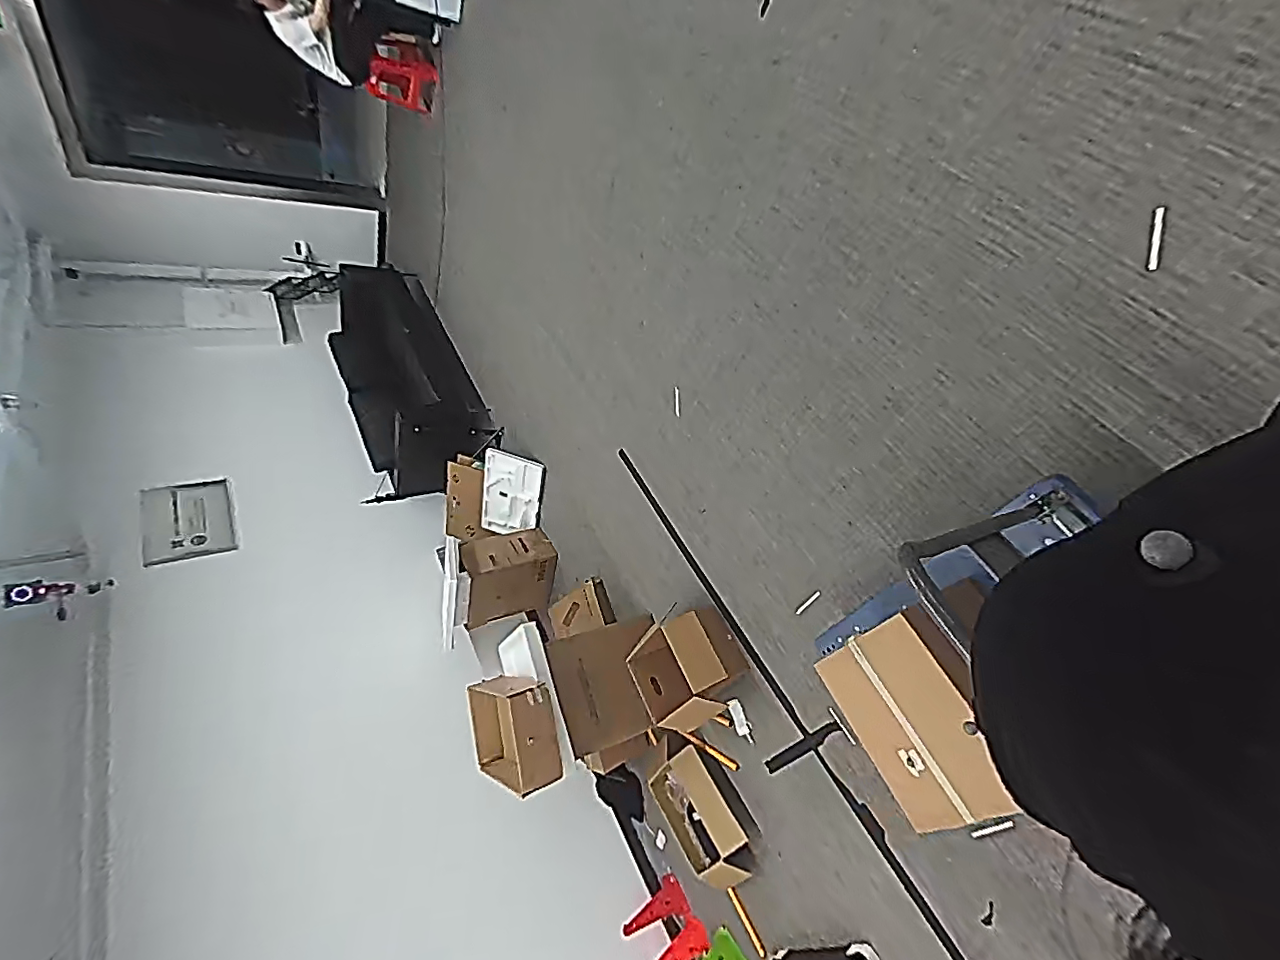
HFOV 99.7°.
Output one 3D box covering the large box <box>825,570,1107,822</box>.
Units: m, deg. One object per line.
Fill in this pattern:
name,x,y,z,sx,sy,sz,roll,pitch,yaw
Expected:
large box,0.726,0.479,1.245,0.408,0.320,0.320,60,142,26
